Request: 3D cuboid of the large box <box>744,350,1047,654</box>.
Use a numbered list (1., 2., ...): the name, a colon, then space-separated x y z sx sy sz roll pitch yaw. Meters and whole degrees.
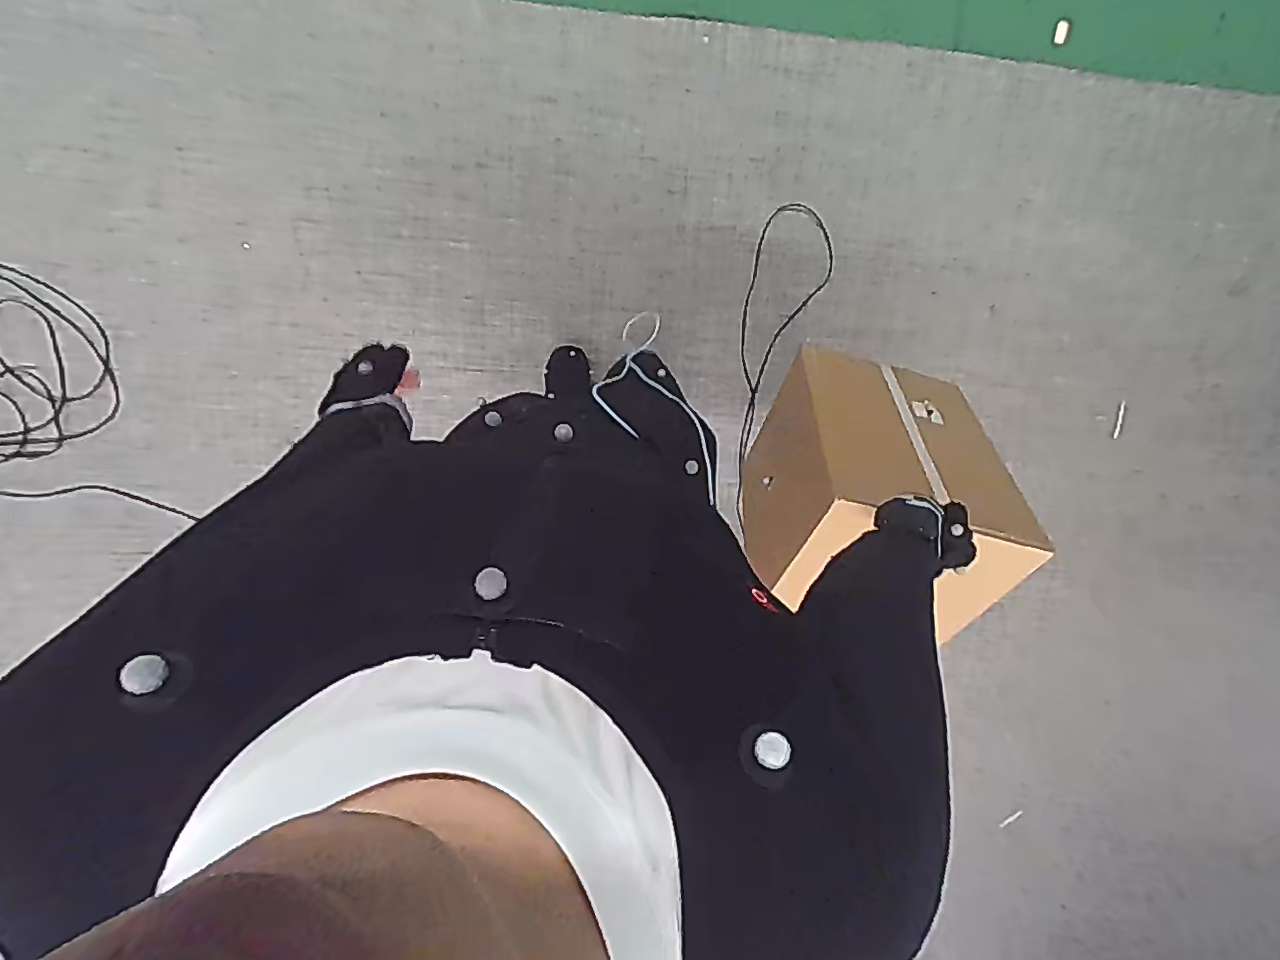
1. large box: 0.387 0.034 0.956 0.320 0.408 0.320 15 132 -5
